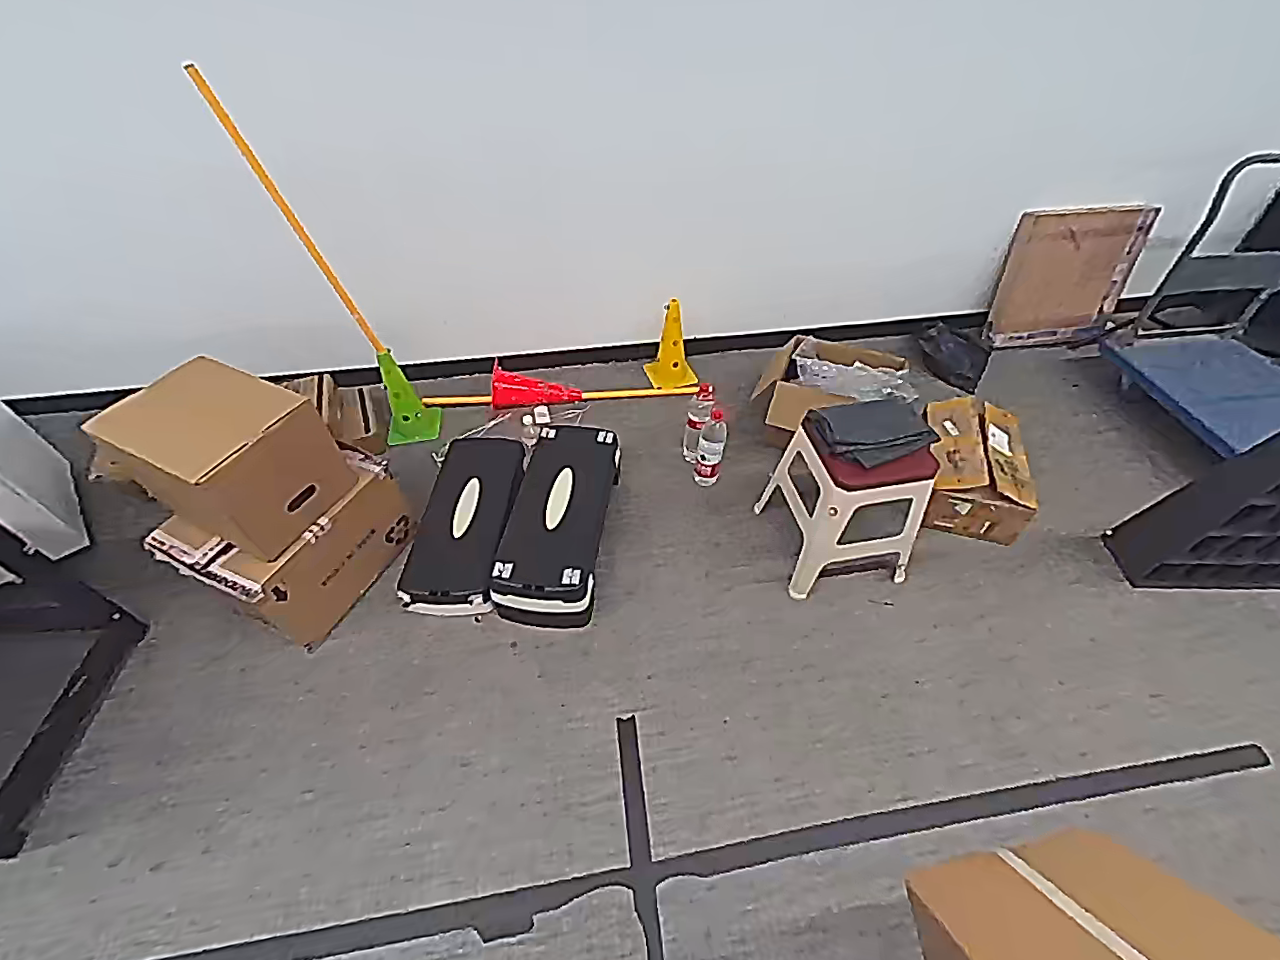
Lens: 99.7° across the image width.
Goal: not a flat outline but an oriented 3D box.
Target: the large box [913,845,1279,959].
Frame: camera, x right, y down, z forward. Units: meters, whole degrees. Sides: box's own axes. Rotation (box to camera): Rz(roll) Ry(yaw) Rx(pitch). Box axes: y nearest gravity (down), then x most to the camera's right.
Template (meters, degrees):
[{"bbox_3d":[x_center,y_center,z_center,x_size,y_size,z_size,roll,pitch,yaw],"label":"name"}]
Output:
[{"bbox_3d":[0.586,0.702,0.608,0.320,0.408,0.320,-11,83,-2],"label":"large box"}]
